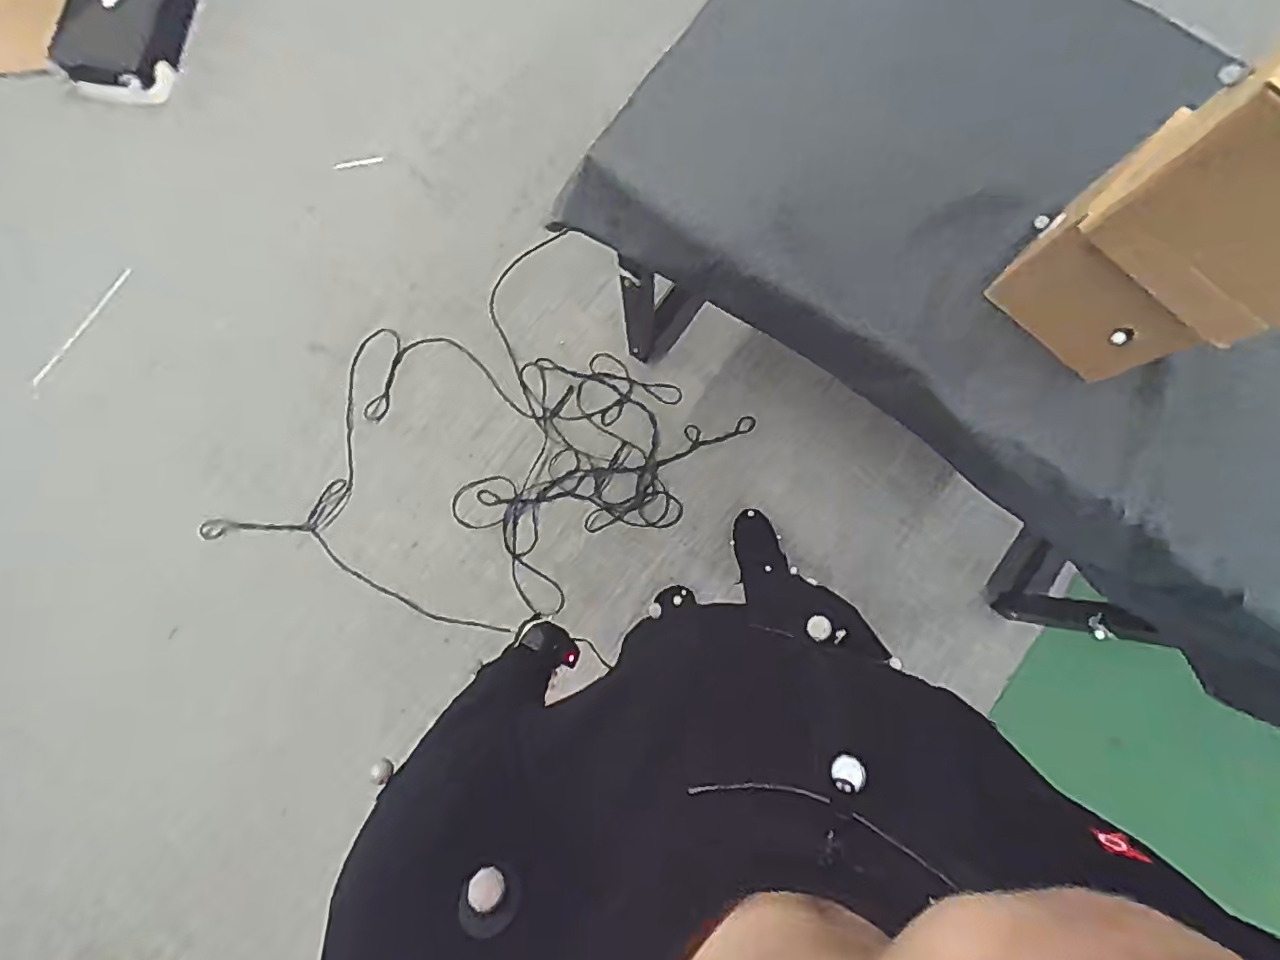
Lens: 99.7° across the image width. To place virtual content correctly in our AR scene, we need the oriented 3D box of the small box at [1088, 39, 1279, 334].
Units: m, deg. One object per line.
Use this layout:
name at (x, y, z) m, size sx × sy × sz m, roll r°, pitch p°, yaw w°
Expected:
small box at (0.540, -0.255, 0.445) m, size 0.168 × 0.176 × 0.179 m, roll -45°, pitch 84°, yaw -6°

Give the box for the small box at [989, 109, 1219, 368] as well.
small box at (0.555, -0.249, 0.609) m, size 0.179 × 0.176 × 0.168 m, roll 43°, pitch 84°, yaw 7°
